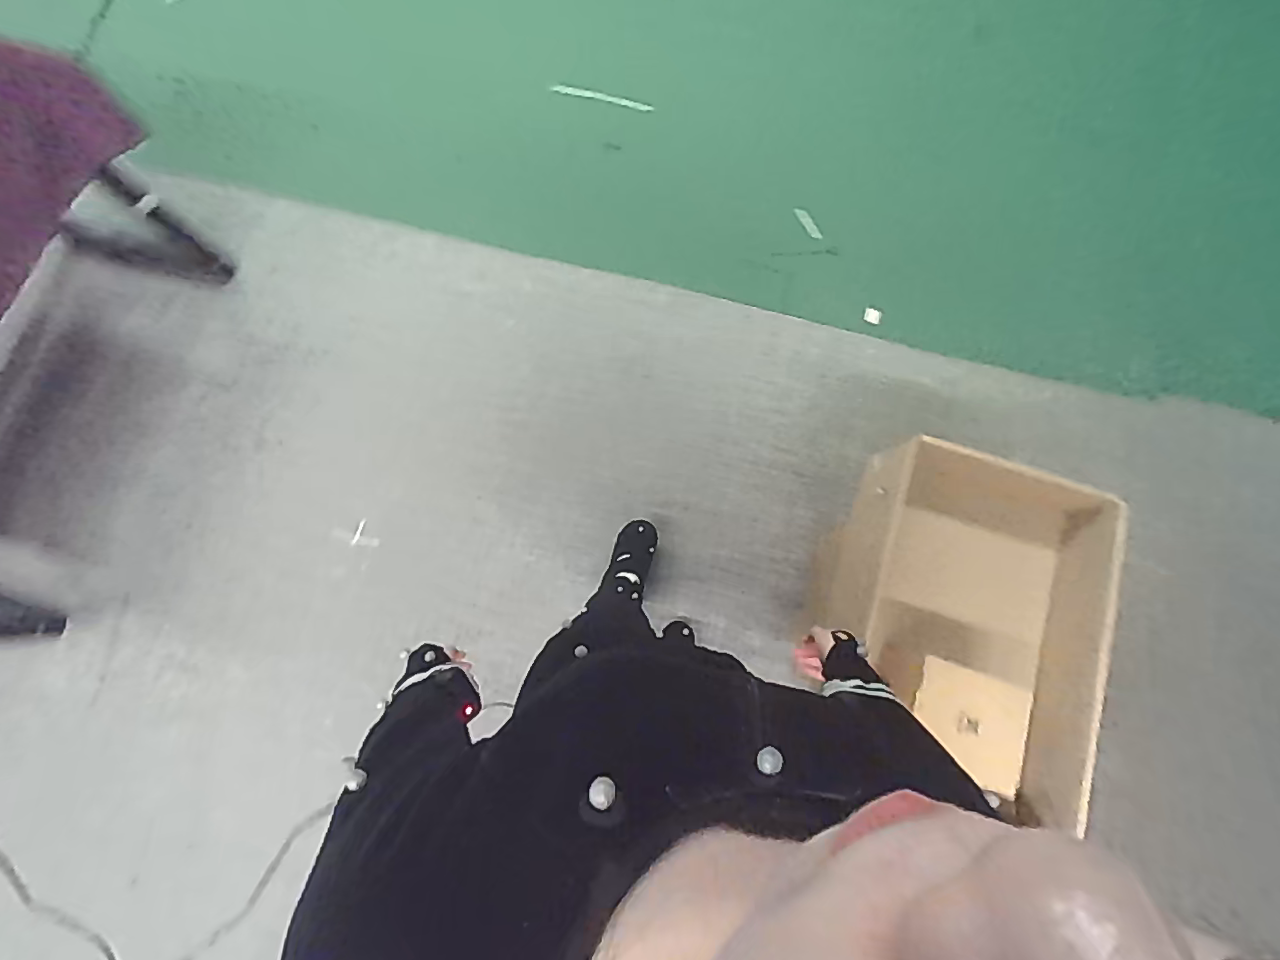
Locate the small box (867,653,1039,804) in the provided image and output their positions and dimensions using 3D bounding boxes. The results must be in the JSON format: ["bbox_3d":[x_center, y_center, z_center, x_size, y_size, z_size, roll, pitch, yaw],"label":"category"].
[{"bbox_3d":[0.519,0.405,0.917,0.179,0.176,0.168,20,78,5],"label":"small box"}]
